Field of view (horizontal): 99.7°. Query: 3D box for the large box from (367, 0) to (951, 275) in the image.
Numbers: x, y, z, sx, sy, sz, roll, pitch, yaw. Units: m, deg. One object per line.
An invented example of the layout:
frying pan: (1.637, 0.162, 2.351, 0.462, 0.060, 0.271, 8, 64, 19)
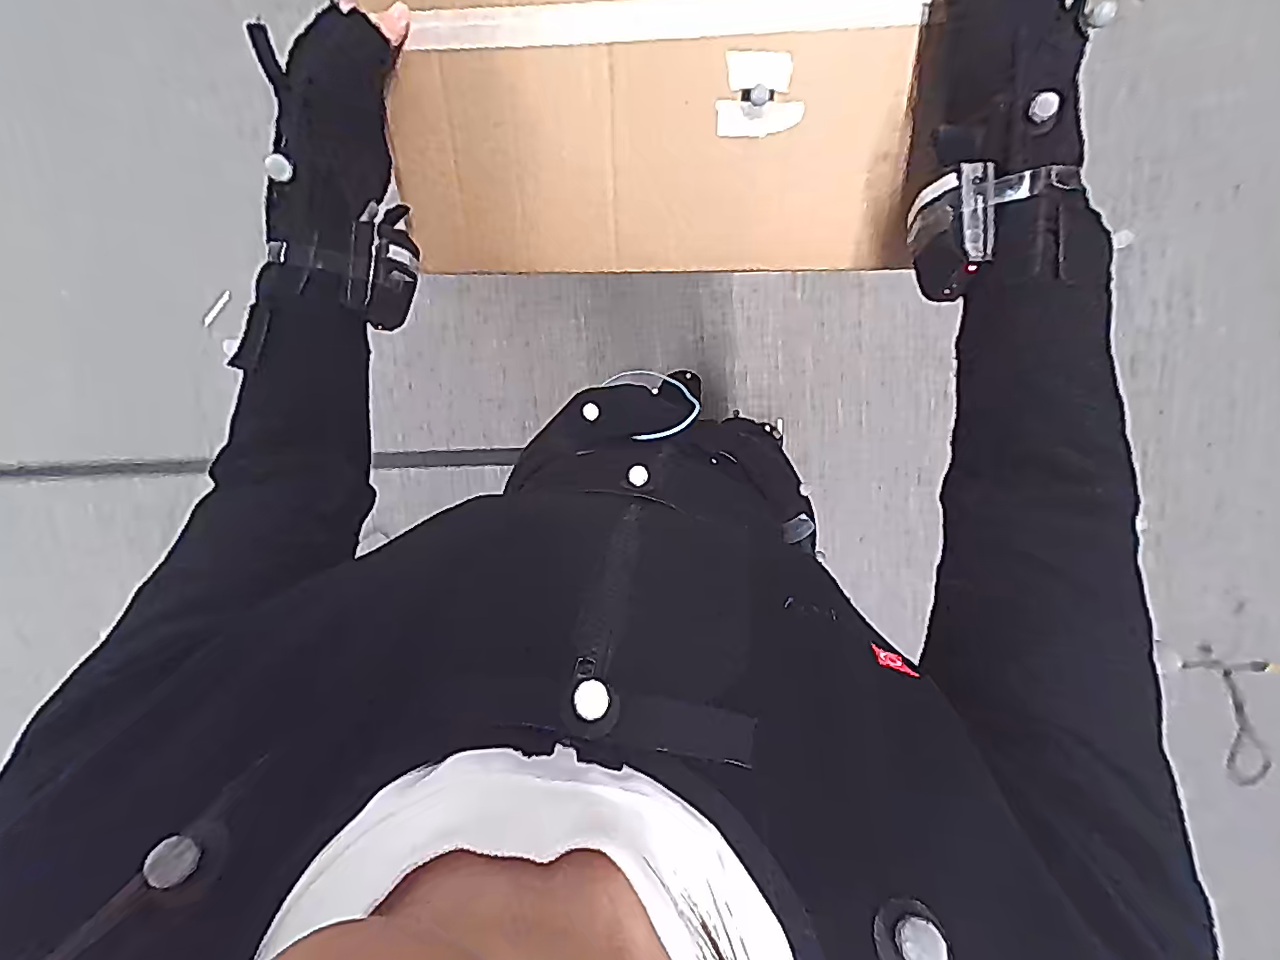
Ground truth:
large box: (0.016, -0.382, 0.503, 0.408, 0.320, 0.320, -1, 117, 4)
